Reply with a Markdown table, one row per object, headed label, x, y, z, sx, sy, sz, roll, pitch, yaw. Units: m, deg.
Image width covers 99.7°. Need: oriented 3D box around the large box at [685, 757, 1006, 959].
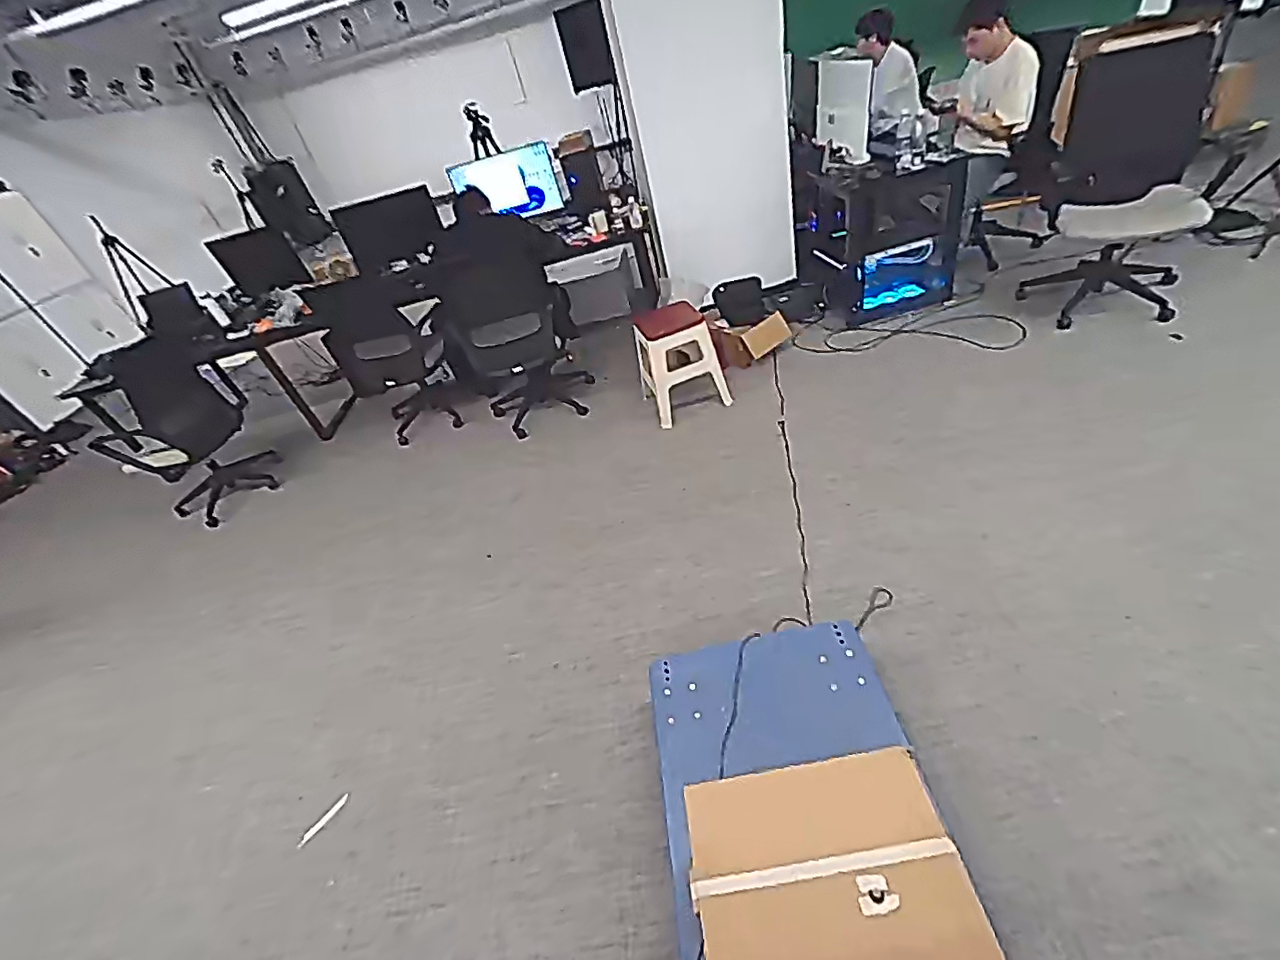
| label | x | y | z | sx | sy | sz | roll | pitch | yaw |
| --- | --- | --- | --- | --- | --- | --- | --- | --- | --- |
| large box | 0.316 | 0.728 | 0.915 | 0.408 | 0.320 | 0.320 | -13 | 39 | 4 |
